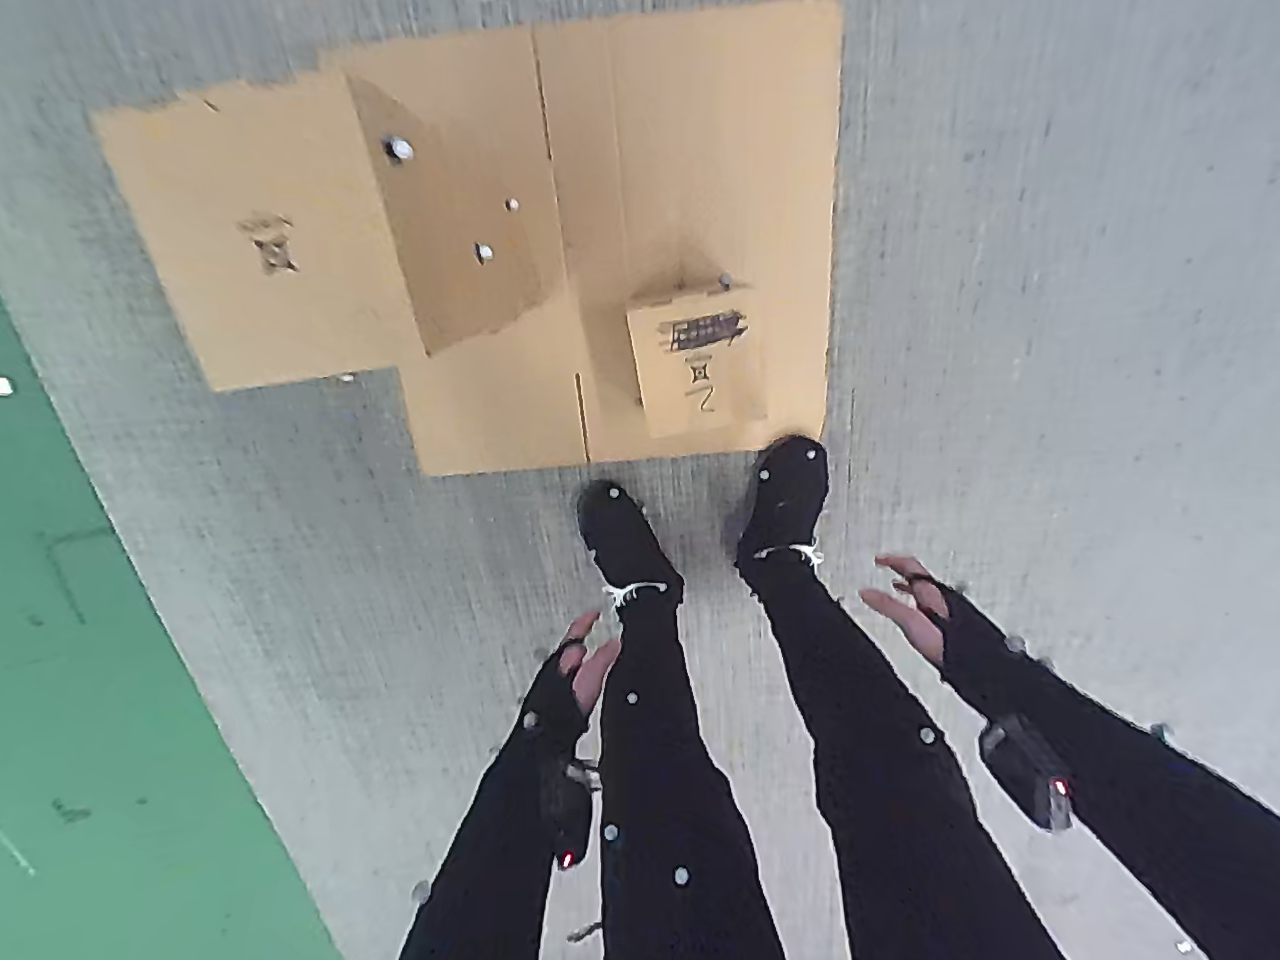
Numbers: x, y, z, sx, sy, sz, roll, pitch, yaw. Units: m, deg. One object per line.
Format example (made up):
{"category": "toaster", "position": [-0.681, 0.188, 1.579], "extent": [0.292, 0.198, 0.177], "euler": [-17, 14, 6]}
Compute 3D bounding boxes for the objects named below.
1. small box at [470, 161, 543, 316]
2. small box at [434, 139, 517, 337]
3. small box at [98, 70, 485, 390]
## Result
{"category": "small box", "position": [-0.243, -0.303, 0.735], "extent": [0.168, 0.176, 0.179], "euler": [-12, 112, 5]}
{"category": "small box", "position": [-0.244, -0.243, 0.583], "extent": [0.168, 0.176, 0.179], "euler": [-8, 111, 4]}
{"category": "small box", "position": [-0.240, -0.184, 0.431], "extent": [0.168, 0.176, 0.179], "euler": [-8, 111, 4]}
